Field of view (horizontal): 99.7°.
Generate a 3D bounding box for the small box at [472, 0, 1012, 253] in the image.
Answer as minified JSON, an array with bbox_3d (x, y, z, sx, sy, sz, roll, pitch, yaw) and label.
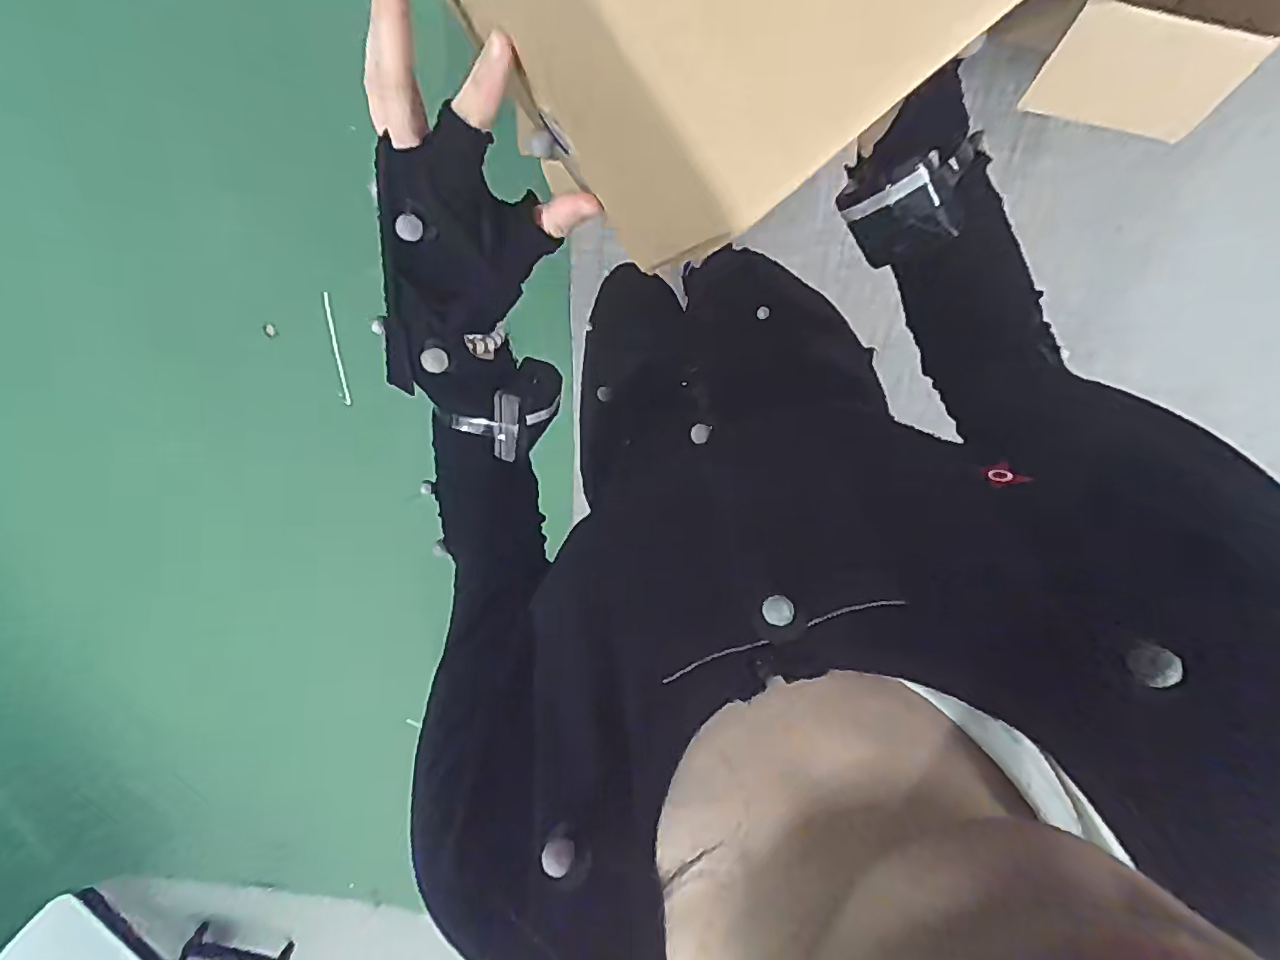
[{"bbox_3d":[0.027,-0.209,0.194,0.168,0.179,0.176,-38,110,7],"label":"small box"}]
